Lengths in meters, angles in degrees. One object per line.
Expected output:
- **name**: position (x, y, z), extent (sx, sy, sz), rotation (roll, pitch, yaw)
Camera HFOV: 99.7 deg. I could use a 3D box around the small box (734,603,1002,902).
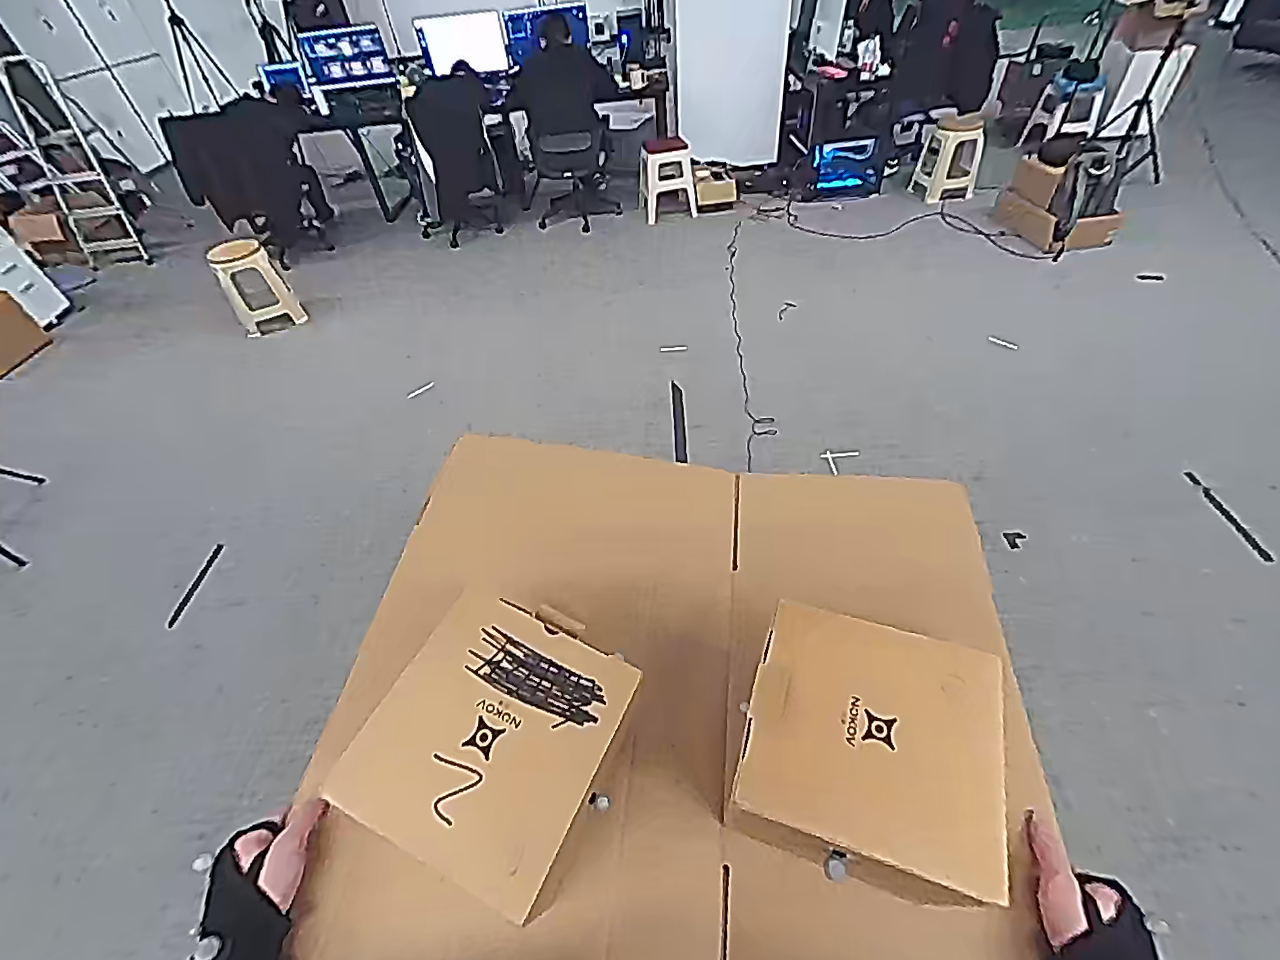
- **small box**: position (0.188, 0.236, 0.477), extent (0.179, 0.176, 0.168), rotation (12, 56, 17)
